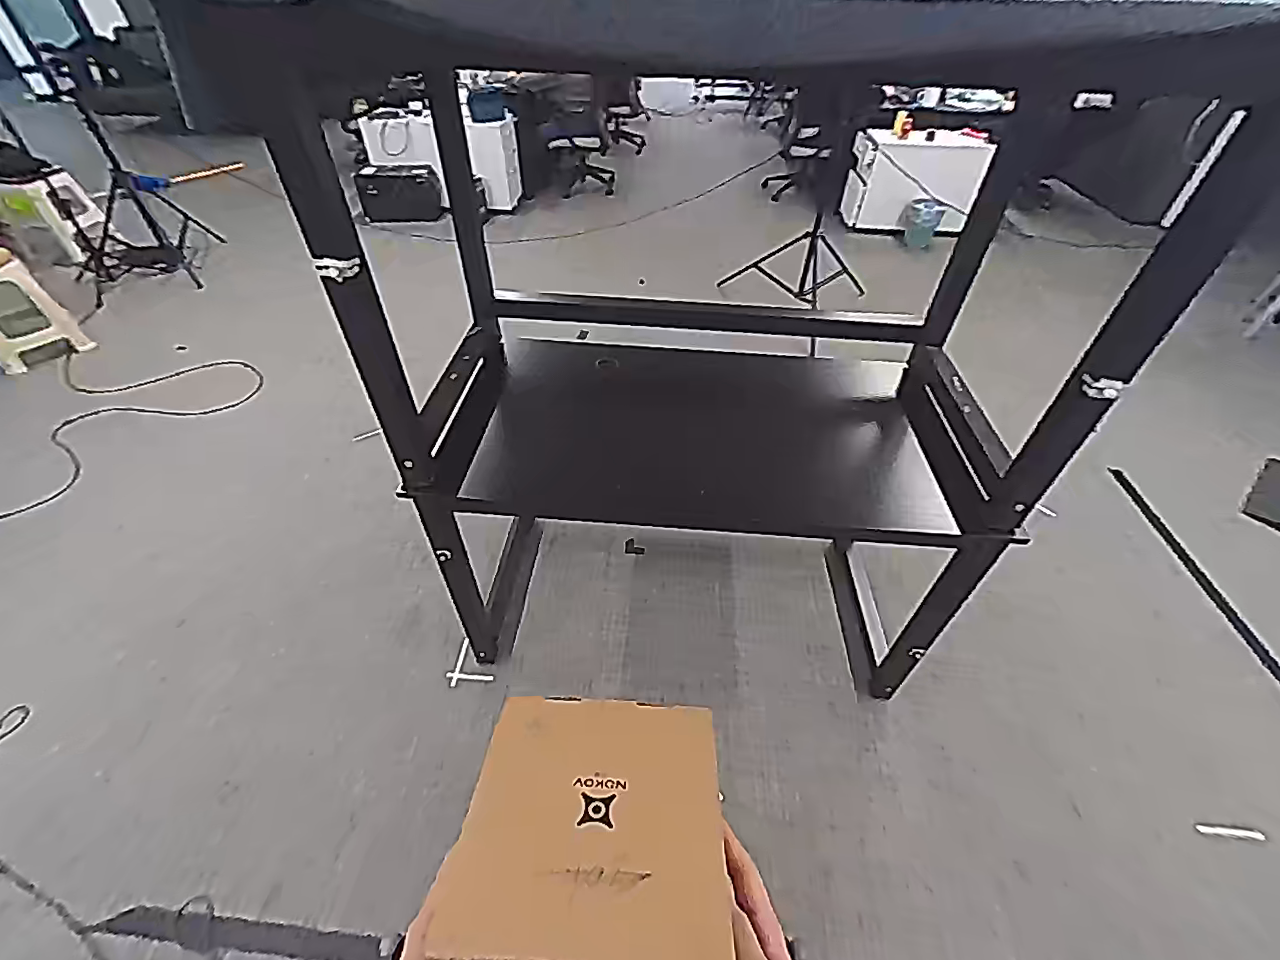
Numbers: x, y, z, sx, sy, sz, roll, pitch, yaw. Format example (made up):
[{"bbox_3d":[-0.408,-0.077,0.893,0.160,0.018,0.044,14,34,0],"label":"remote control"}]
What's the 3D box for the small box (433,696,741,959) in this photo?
[{"bbox_3d":[-0.028,0.286,0.387,0.168,0.176,0.179,2,25,1],"label":"small box"}]
